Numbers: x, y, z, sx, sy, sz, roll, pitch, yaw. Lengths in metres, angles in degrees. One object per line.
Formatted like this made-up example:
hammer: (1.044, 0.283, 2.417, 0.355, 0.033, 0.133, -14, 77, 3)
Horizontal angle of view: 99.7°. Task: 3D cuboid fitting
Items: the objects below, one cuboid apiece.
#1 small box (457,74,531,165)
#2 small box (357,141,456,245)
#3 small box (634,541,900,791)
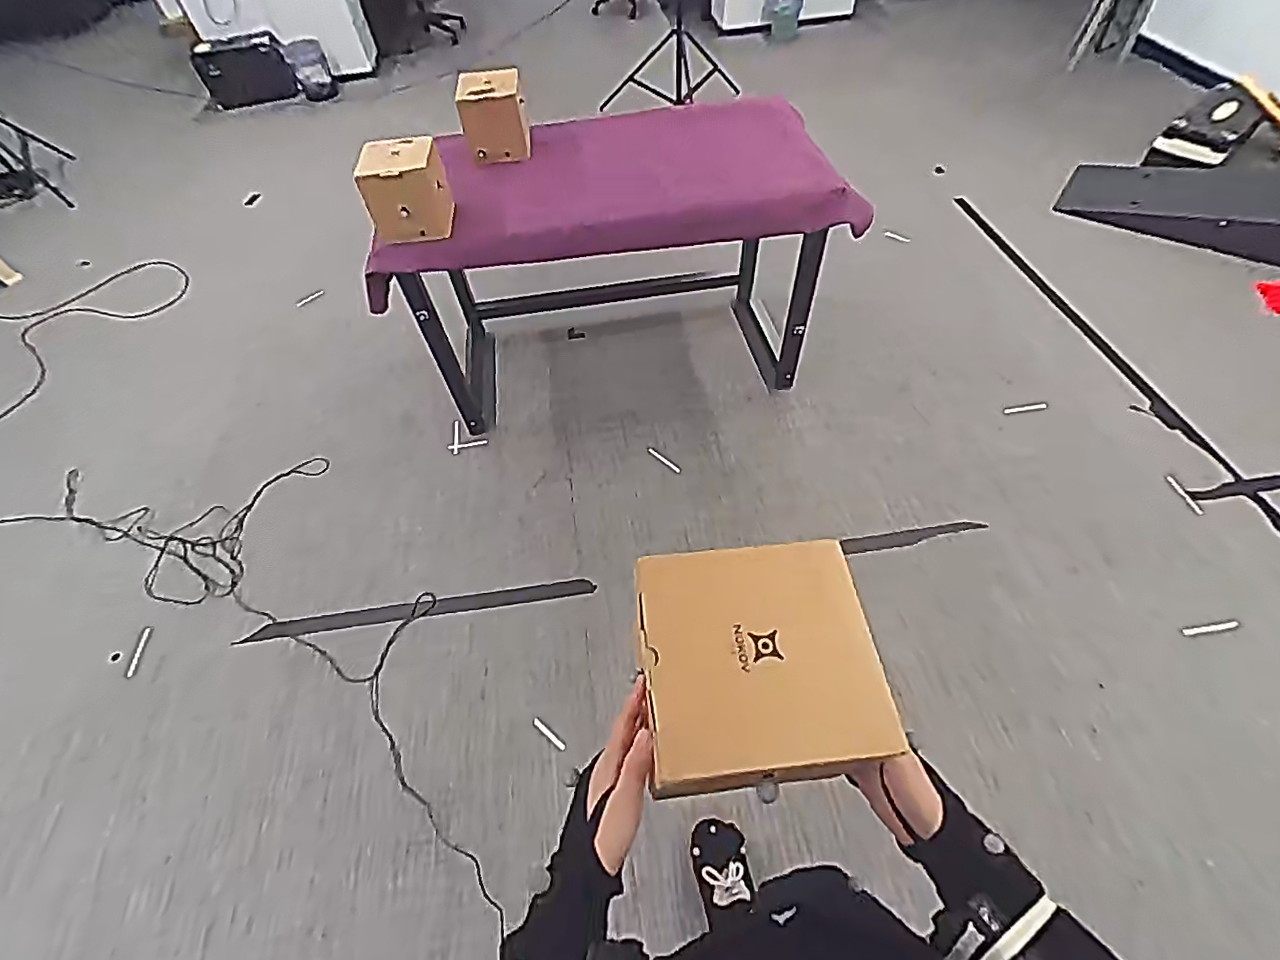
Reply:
small box: (-0.411, -1.027, 1.553, 0.168, 0.176, 0.179, -6, 55, -1)
small box: (-0.565, -0.699, 1.332, 0.168, 0.176, 0.179, -7, 55, -2)
small box: (0.089, 0.170, 0.480, 0.179, 0.176, 0.168, -6, 57, -3)
